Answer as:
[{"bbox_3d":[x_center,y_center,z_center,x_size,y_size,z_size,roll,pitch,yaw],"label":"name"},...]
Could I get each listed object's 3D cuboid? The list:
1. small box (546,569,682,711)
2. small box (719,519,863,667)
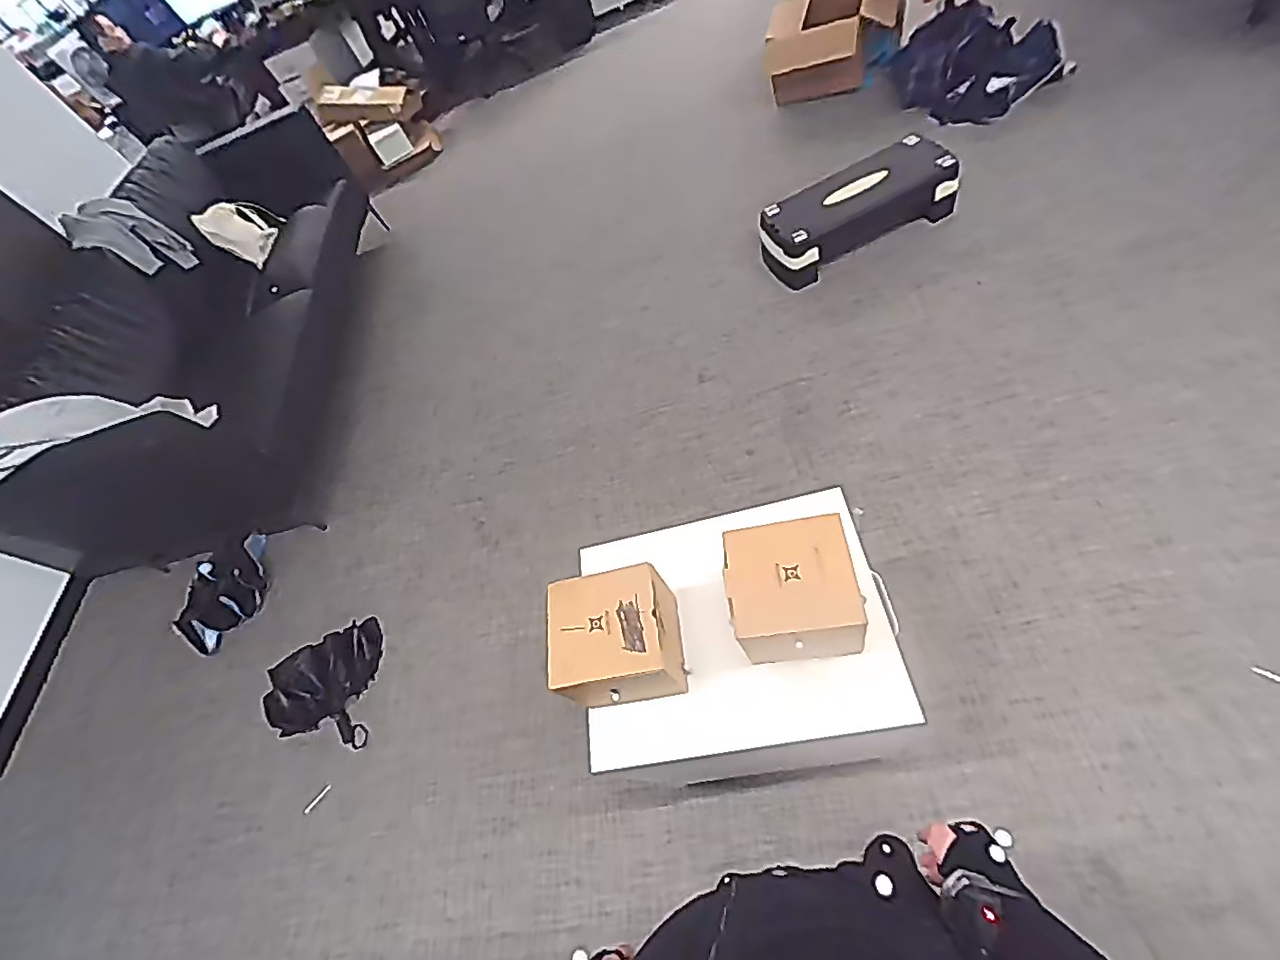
[{"bbox_3d":[-0.037,0.263,0.869,0.179,0.176,0.168,-14,55,12],"label":"small box"},{"bbox_3d":[0.230,0.180,0.827,0.179,0.176,0.168,-11,58,13],"label":"small box"}]
